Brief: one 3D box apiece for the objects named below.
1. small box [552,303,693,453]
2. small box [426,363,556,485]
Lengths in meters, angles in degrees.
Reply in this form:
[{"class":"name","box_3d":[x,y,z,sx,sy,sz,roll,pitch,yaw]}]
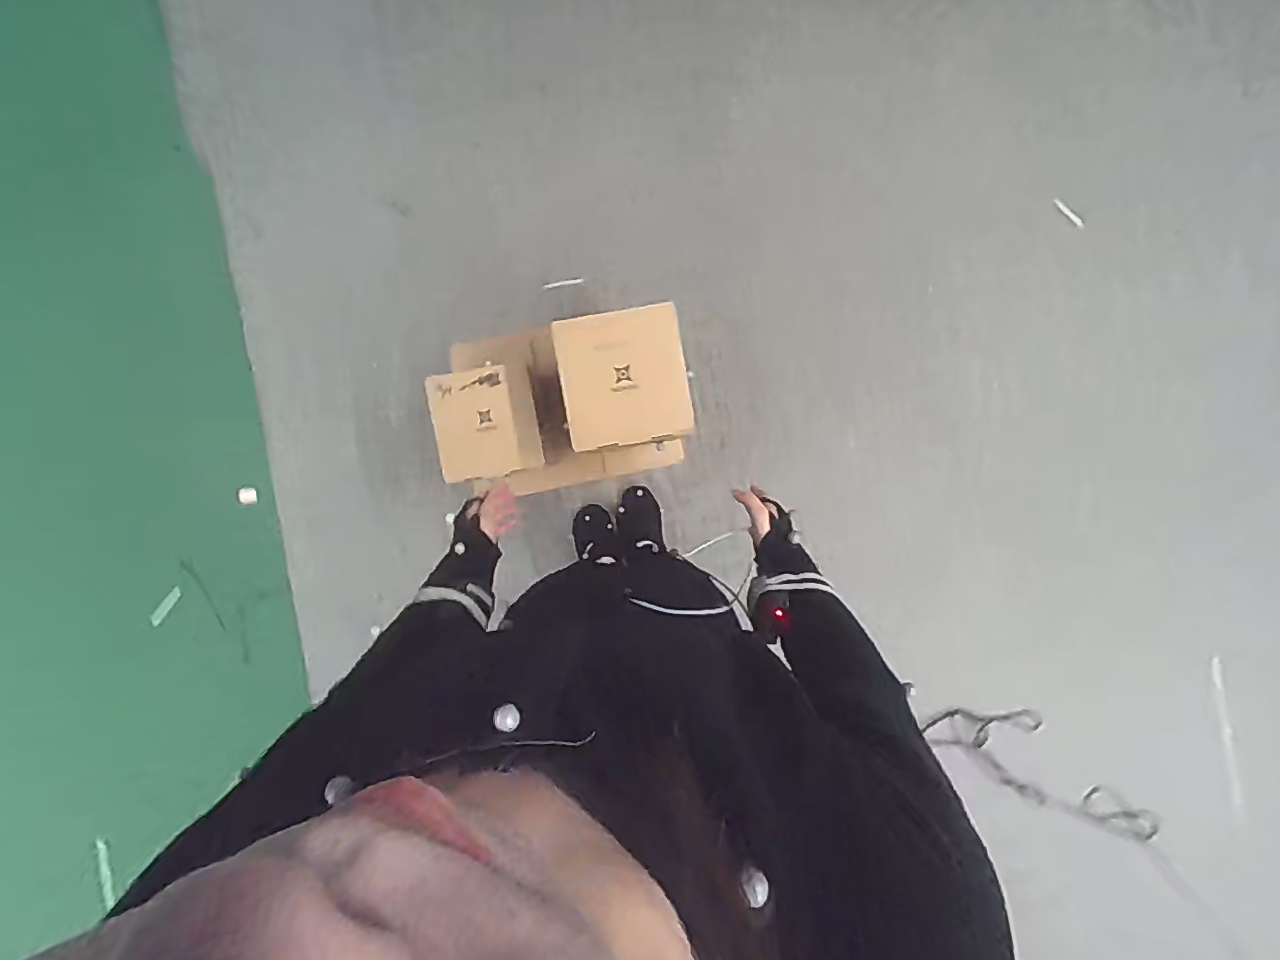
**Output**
[{"class":"small box","box_3d":[-0.021,-0.137,0.787,0.168,0.176,0.179,-10,92,0]},{"class":"small box","box_3d":[-0.250,-0.095,0.948,0.168,0.176,0.179,-11,93,-2]}]
